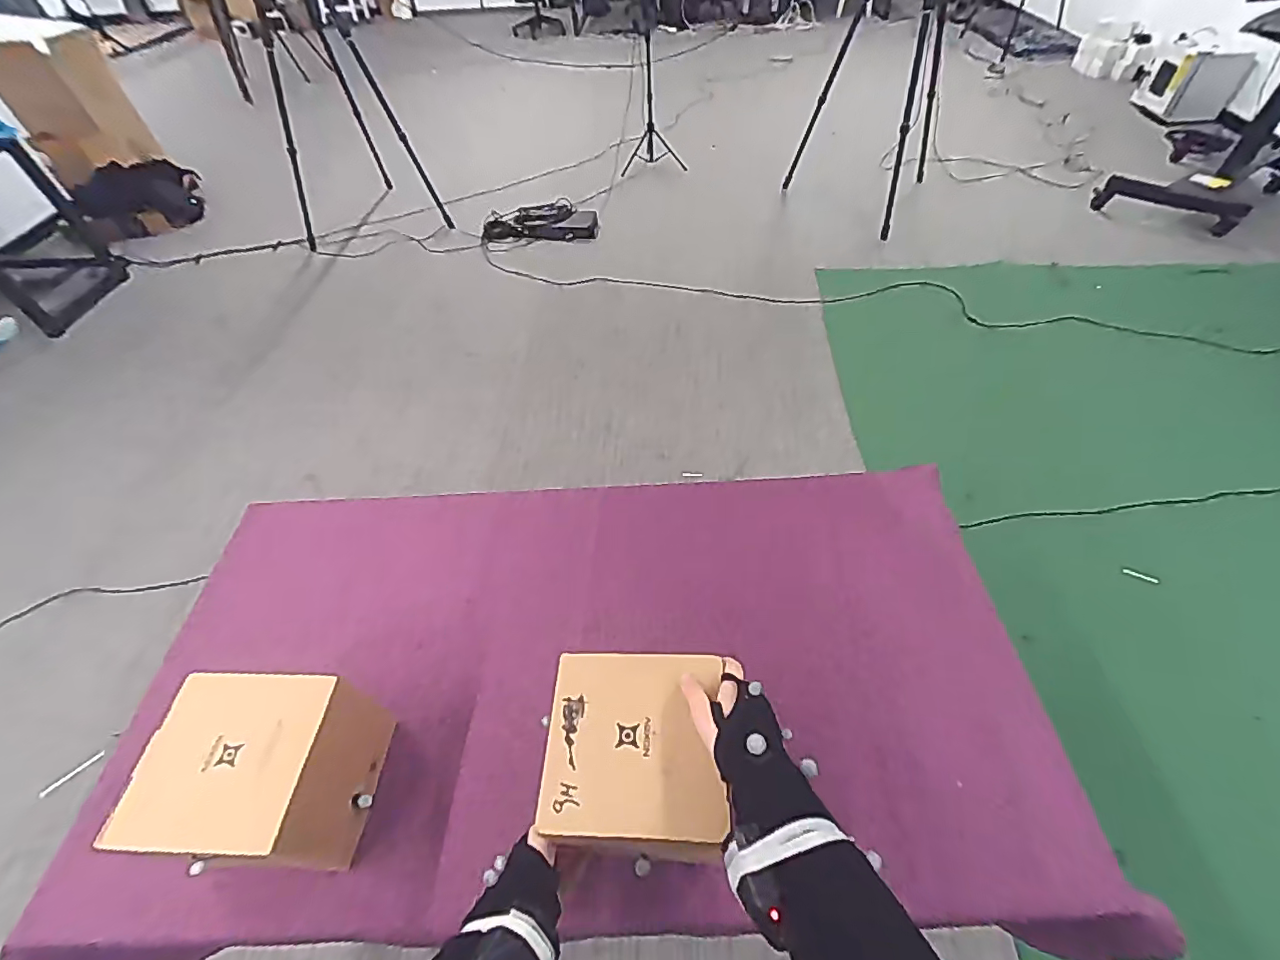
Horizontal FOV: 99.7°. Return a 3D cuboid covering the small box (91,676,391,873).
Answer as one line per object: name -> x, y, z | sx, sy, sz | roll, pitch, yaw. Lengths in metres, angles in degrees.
small box -> -0.418, 0.333, 0.608 | 0.179, 0.176, 0.168 | 1, 50, 3

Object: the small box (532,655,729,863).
small box -> -0.001, 0.303, 0.584 | 0.179, 0.176, 0.168 | 0, 49, 5
